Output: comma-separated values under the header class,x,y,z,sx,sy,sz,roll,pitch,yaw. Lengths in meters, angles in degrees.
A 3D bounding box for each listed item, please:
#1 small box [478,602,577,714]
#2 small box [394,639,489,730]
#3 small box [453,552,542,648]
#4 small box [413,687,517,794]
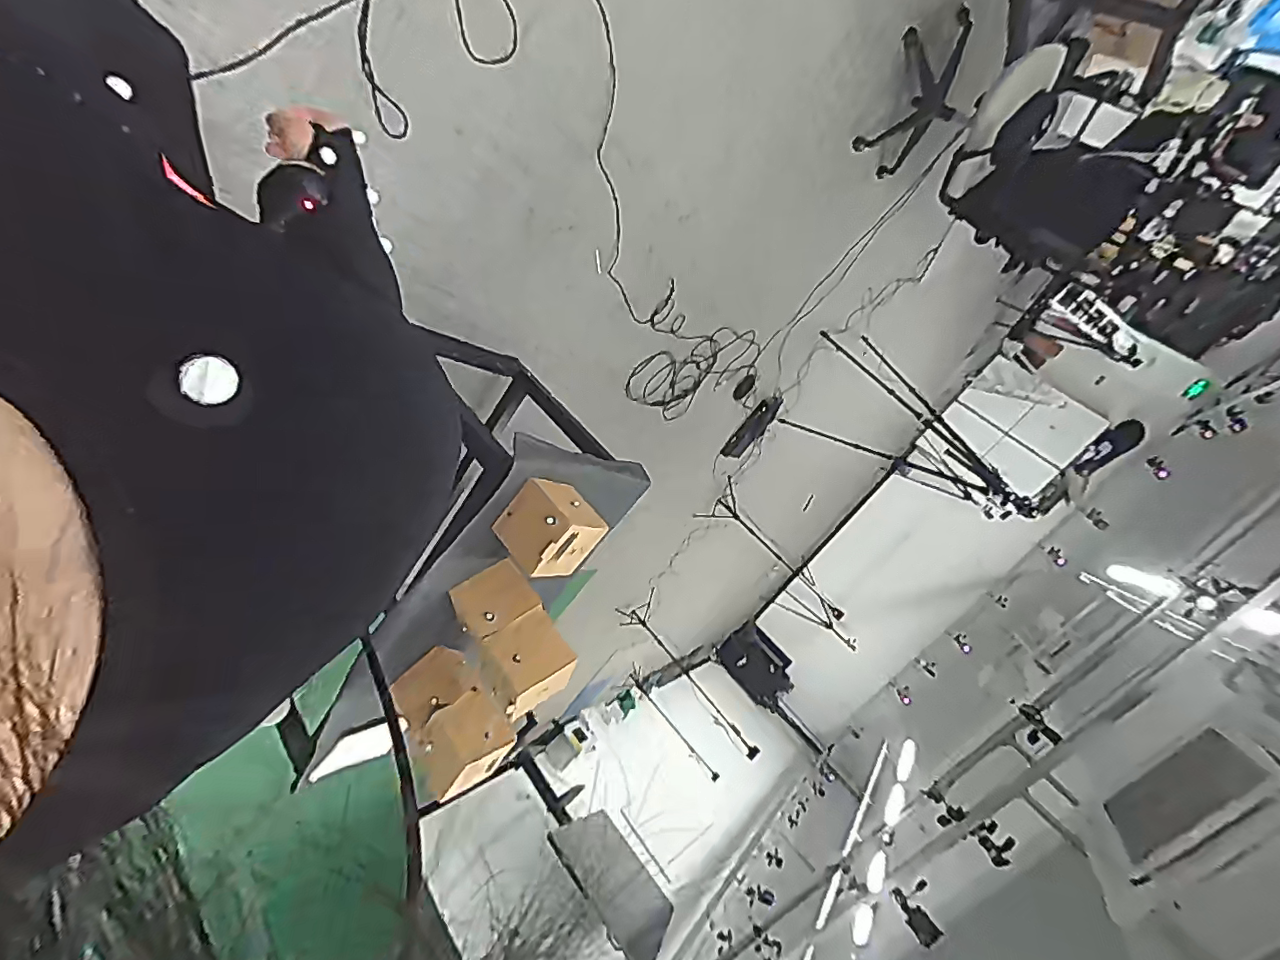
class,x,y,z,sx,sy,sz,roll,pitch,yaw
small box,-0.289,0.444,1.365,0.179,0.176,0.168,-24,149,-39
small box,-0.572,0.588,1.545,0.179,0.176,0.168,-41,155,-10
small box,-0.379,0.326,1.434,0.179,0.176,0.168,-30,152,-28
small box,-0.476,0.695,1.464,0.179,0.176,0.168,0,129,-57
